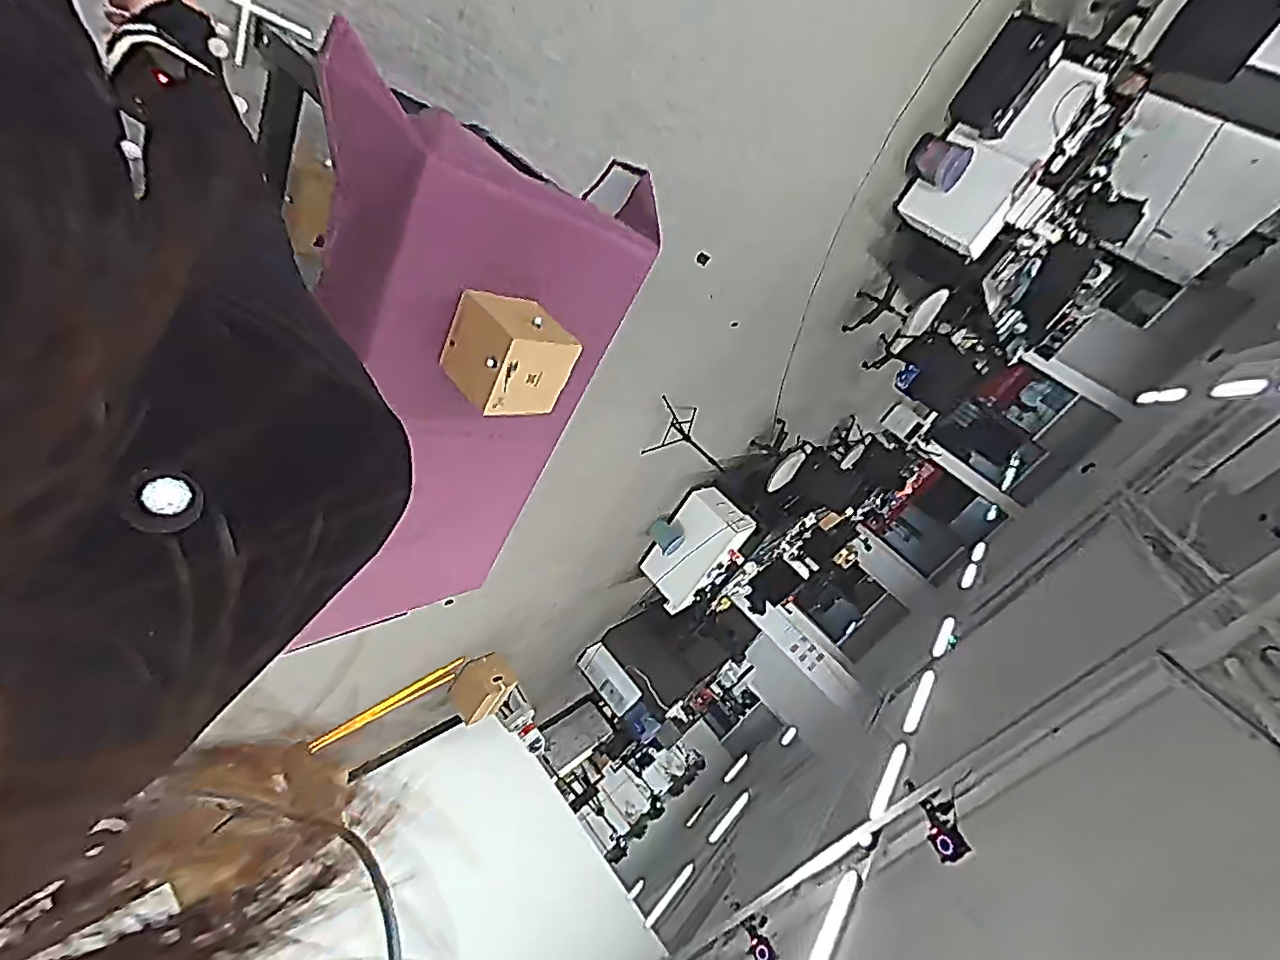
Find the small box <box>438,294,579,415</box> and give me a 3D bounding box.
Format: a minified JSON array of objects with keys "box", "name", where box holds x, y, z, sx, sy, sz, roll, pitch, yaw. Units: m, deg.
[{"box":[-0.260,-0.245,1.064,0.179,0.176,0.168,-13,141,-53],"name":"small box"}]
